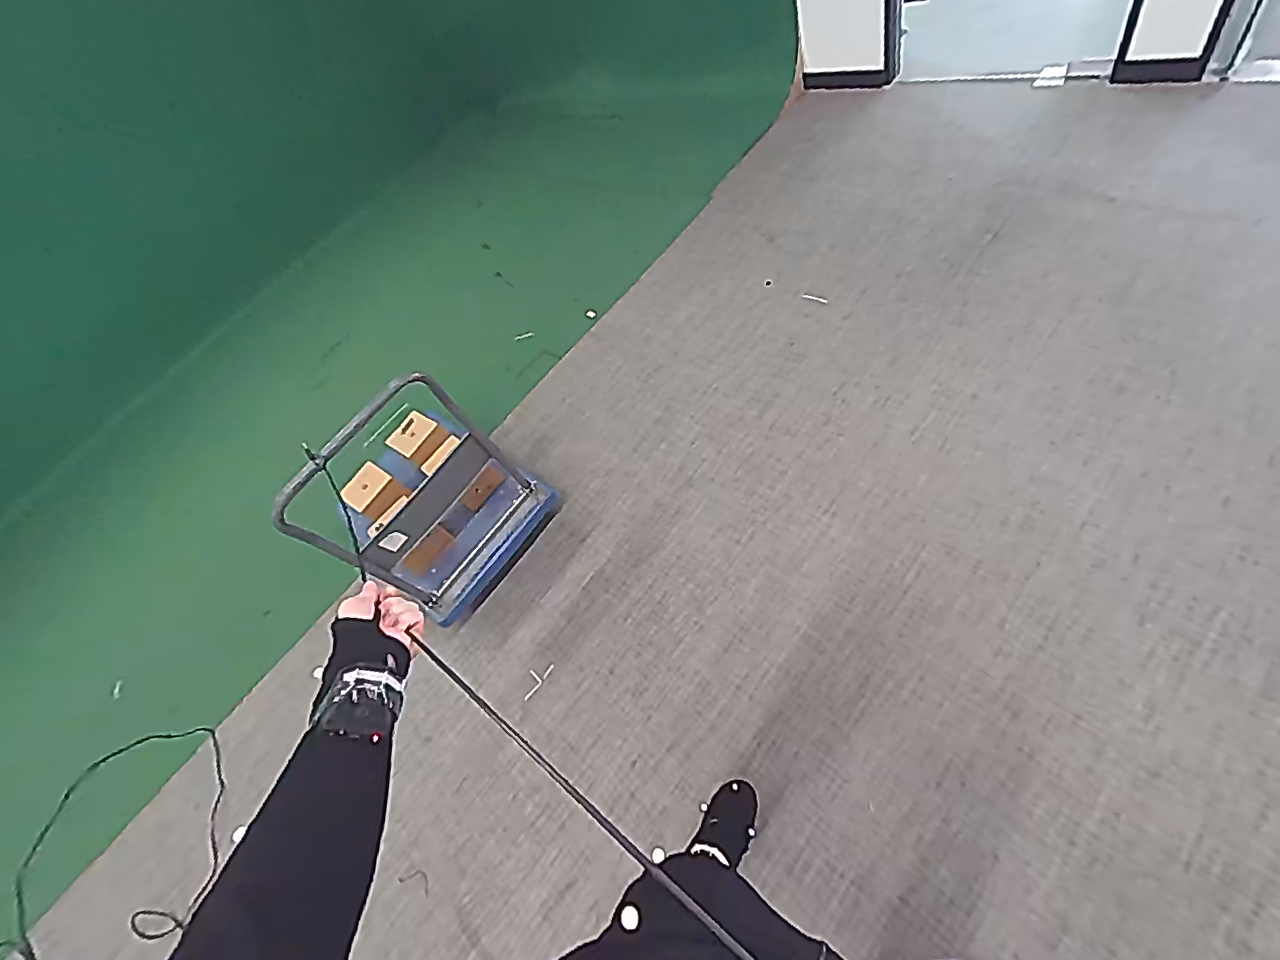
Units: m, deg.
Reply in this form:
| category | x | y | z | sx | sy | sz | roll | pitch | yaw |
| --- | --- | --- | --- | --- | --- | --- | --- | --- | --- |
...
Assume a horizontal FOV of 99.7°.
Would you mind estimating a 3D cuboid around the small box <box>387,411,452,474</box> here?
| category | x | y | z | sx | sy | sz | roll | pitch | yaw |
| --- | --- | --- | --- | --- | --- | --- | --- | --- | --- |
| small box | -0.821 | -0.132 | 2.080 | 0.179 | 0.176 | 0.168 | 26 | 72 | 33 |

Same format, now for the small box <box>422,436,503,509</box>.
| category | x | y | z | sx | sy | sz | roll | pitch | yaw |
| --- | --- | --- | --- | --- | --- | --- | --- | --- | --- |
| small box | -0.629 | -0.022 | 1.925 | 0.179 | 0.176 | 0.168 | 31 | 75 | 35 |

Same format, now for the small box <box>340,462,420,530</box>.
| category | x | y | z | sx | sy | sz | roll | pitch | yaw |
| --- | --- | --- | --- | --- | --- | --- | --- | --- | --- |
| small box | -0.962 | 0.066 | 2.012 | 0.179 | 0.176 | 0.168 | 25 | 71 | 34 |
